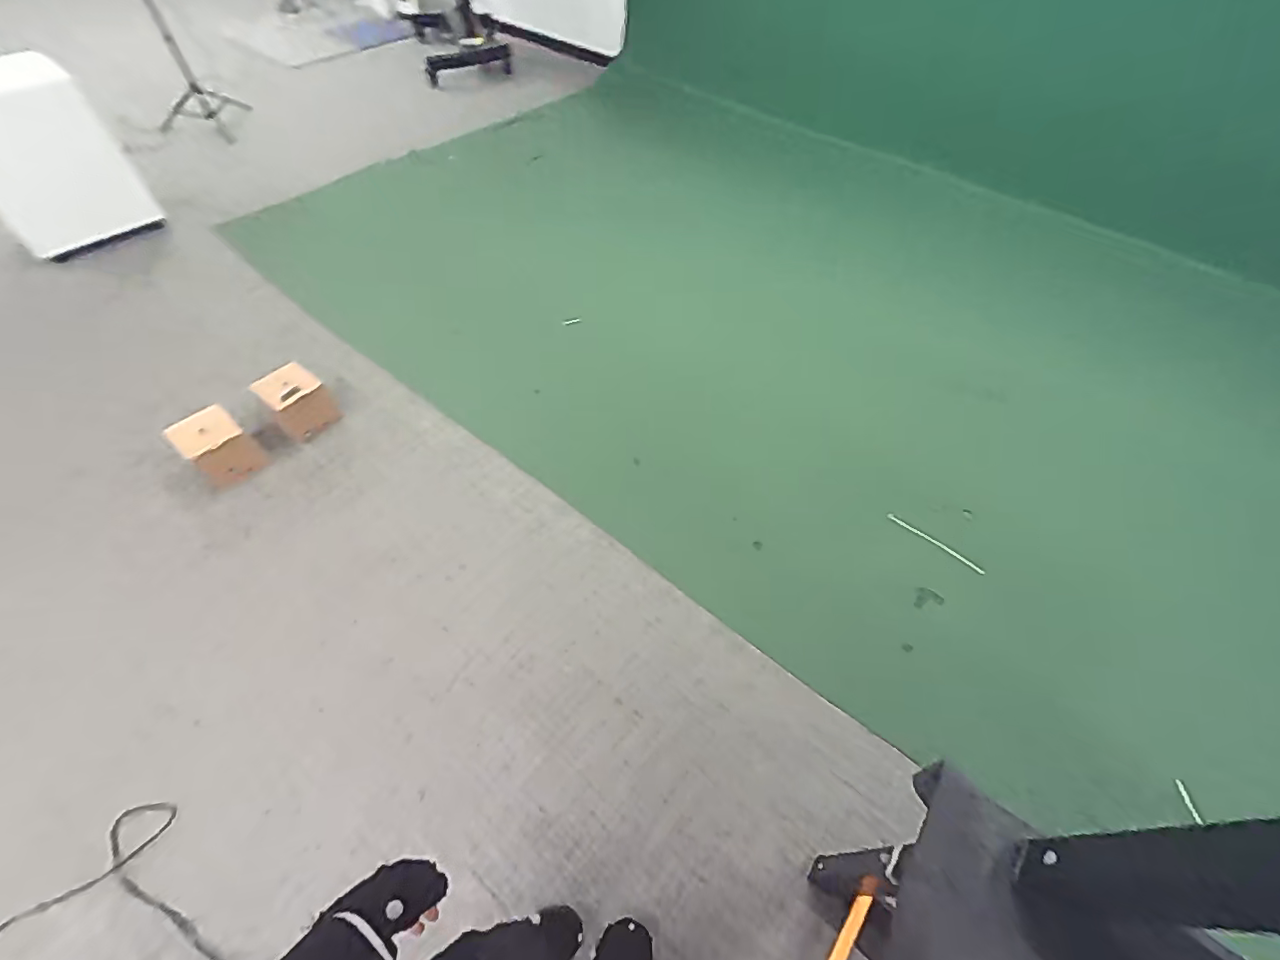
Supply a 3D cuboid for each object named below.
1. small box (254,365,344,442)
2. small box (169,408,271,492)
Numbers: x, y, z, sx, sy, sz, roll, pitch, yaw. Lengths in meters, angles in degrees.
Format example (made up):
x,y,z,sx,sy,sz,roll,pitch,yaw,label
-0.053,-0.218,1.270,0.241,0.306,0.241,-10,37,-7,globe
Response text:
x,y,z,sx,sy,sz,roll,pitch,yaw,label
-1.161,-0.255,1.856,0.179,0.176,0.168,33,58,20,small box
-1.332,-0.092,1.726,0.179,0.176,0.168,36,59,21,small box
